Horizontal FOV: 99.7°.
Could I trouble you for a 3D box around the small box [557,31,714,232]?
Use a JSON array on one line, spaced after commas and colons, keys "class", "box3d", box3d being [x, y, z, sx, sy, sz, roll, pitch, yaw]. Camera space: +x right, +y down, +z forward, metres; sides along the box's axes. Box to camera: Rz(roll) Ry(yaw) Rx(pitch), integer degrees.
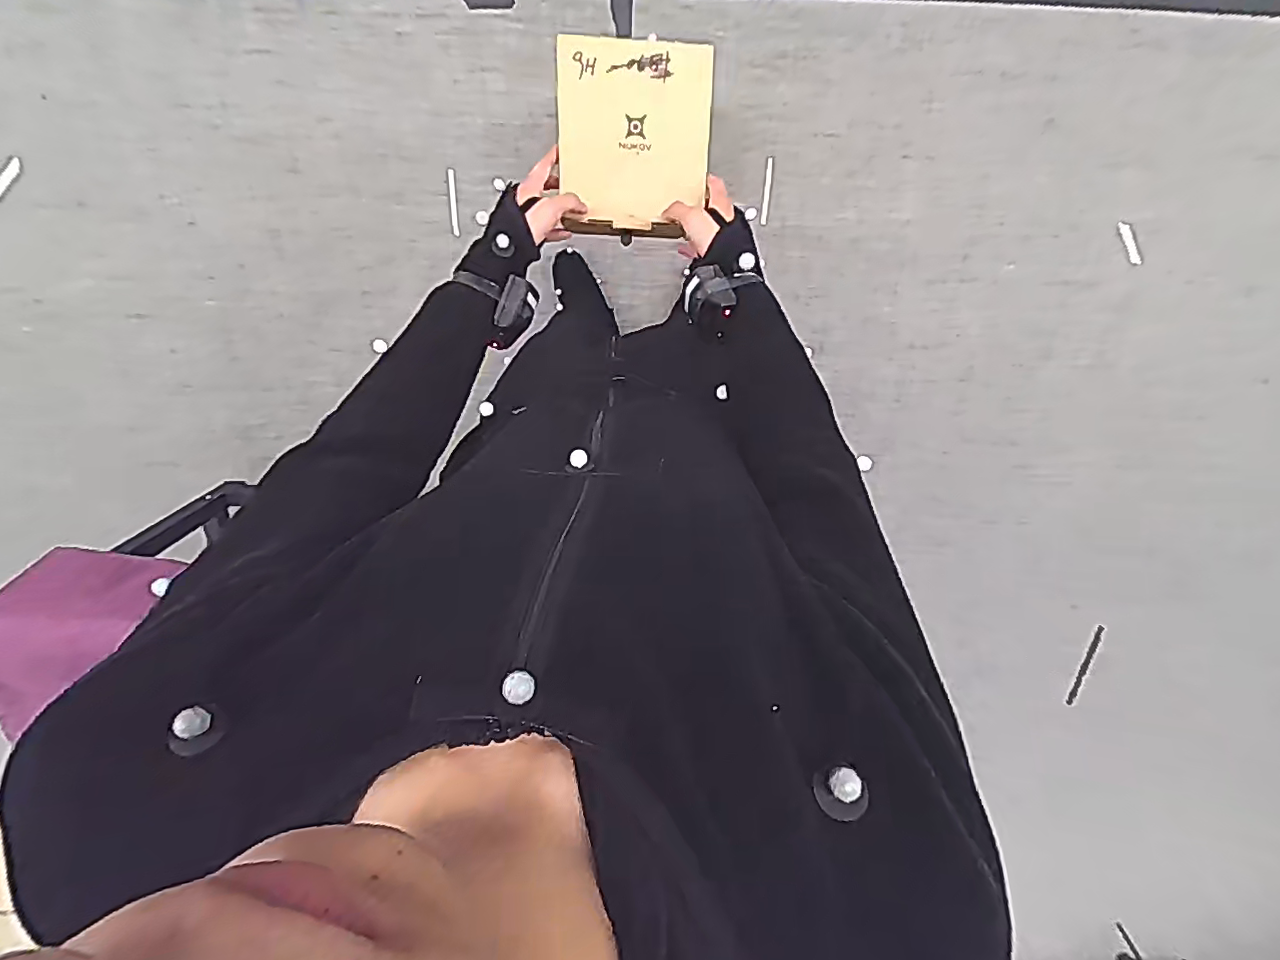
[{"class": "small box", "box3d": [-0.013, -0.406, 0.663, 0.168, 0.176, 0.179, 0, 111, -6]}]
